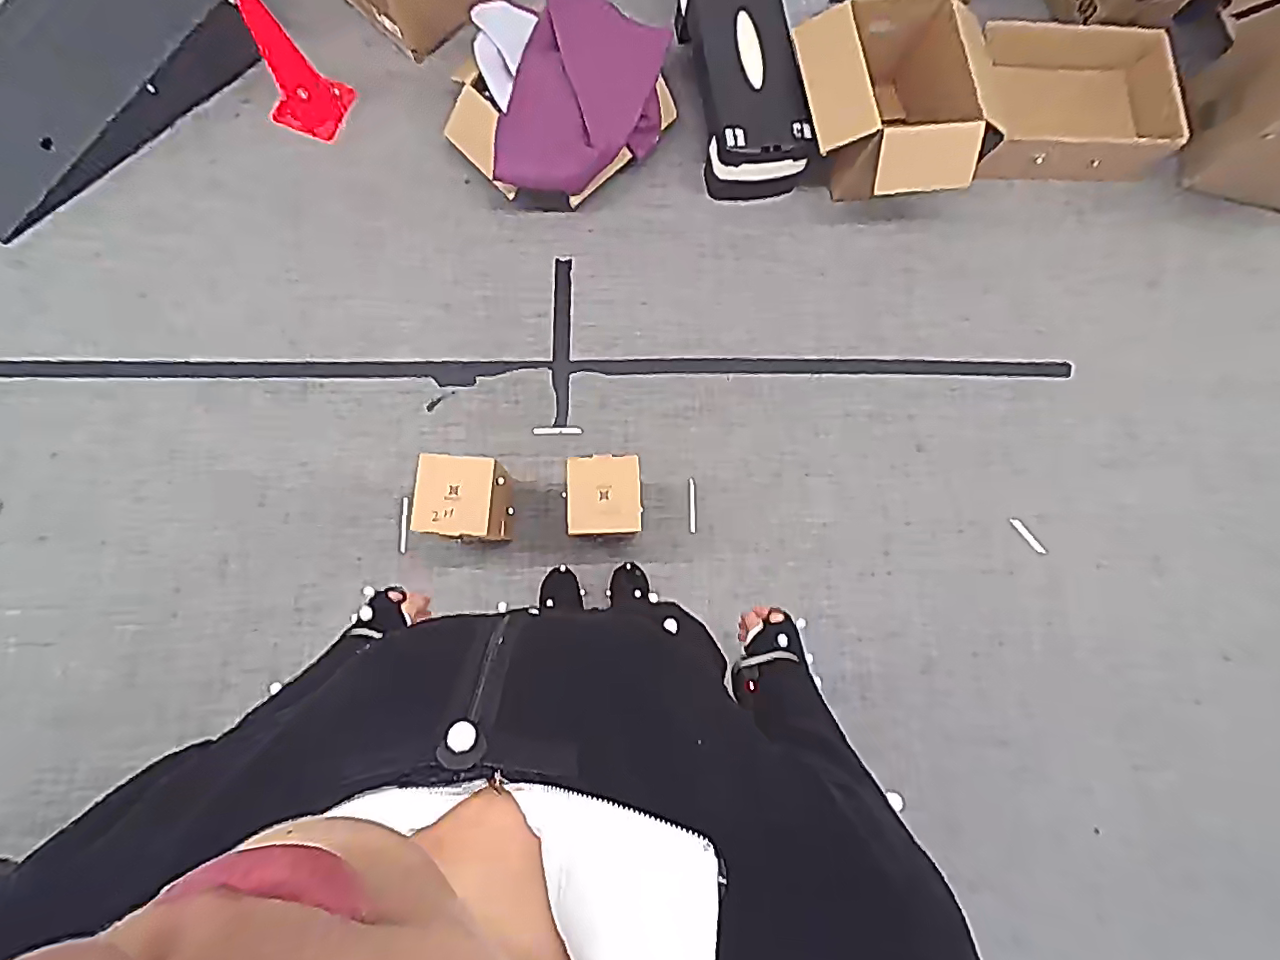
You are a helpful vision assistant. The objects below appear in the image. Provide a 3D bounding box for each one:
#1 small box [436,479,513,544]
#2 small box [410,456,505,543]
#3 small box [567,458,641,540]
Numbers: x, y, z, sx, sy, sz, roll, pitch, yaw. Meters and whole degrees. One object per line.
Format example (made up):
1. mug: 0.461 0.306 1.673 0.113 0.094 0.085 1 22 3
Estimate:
1. small box: -0.429 0.080 1.425 0.168 0.176 0.179 -1 82 -4
2. small box: -0.415 0.051 1.262 0.168 0.176 0.179 4 81 -3
3. small box: -0.088 0.050 1.293 0.168 0.176 0.179 -2 83 -3
